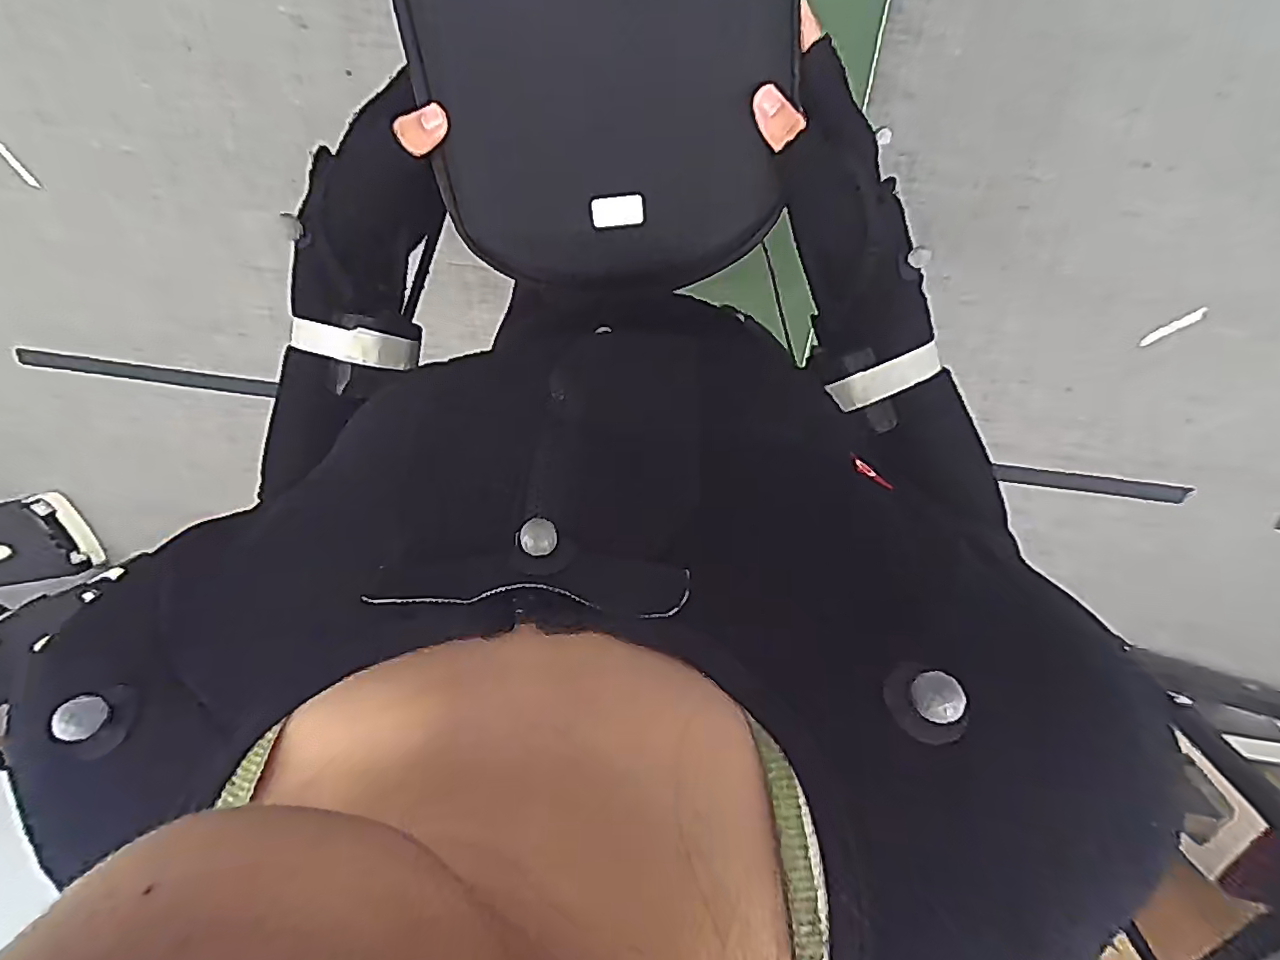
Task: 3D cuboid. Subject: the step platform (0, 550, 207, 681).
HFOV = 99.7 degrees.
[{"bbox_3d":[-1.938,0.492,1.934,0.684,0.204,0.286,-20,111,14],"label":"step platform"}]
